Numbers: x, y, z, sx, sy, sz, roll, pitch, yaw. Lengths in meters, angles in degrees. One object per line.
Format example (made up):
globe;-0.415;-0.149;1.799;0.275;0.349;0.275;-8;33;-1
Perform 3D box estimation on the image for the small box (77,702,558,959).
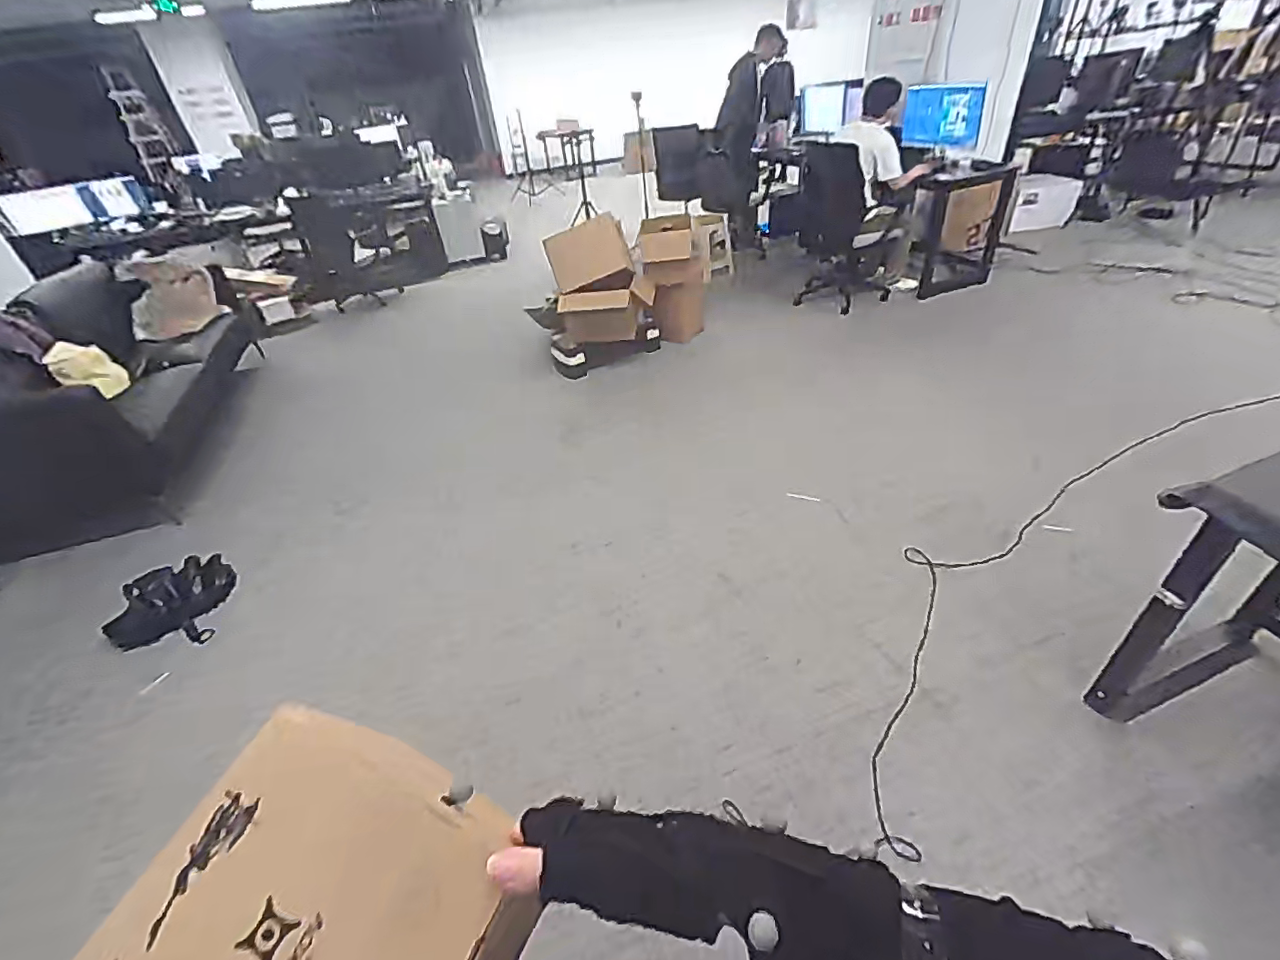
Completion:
small box;-0.170;0.267;0.335;0.179;0.176;0.168;24;61;15
